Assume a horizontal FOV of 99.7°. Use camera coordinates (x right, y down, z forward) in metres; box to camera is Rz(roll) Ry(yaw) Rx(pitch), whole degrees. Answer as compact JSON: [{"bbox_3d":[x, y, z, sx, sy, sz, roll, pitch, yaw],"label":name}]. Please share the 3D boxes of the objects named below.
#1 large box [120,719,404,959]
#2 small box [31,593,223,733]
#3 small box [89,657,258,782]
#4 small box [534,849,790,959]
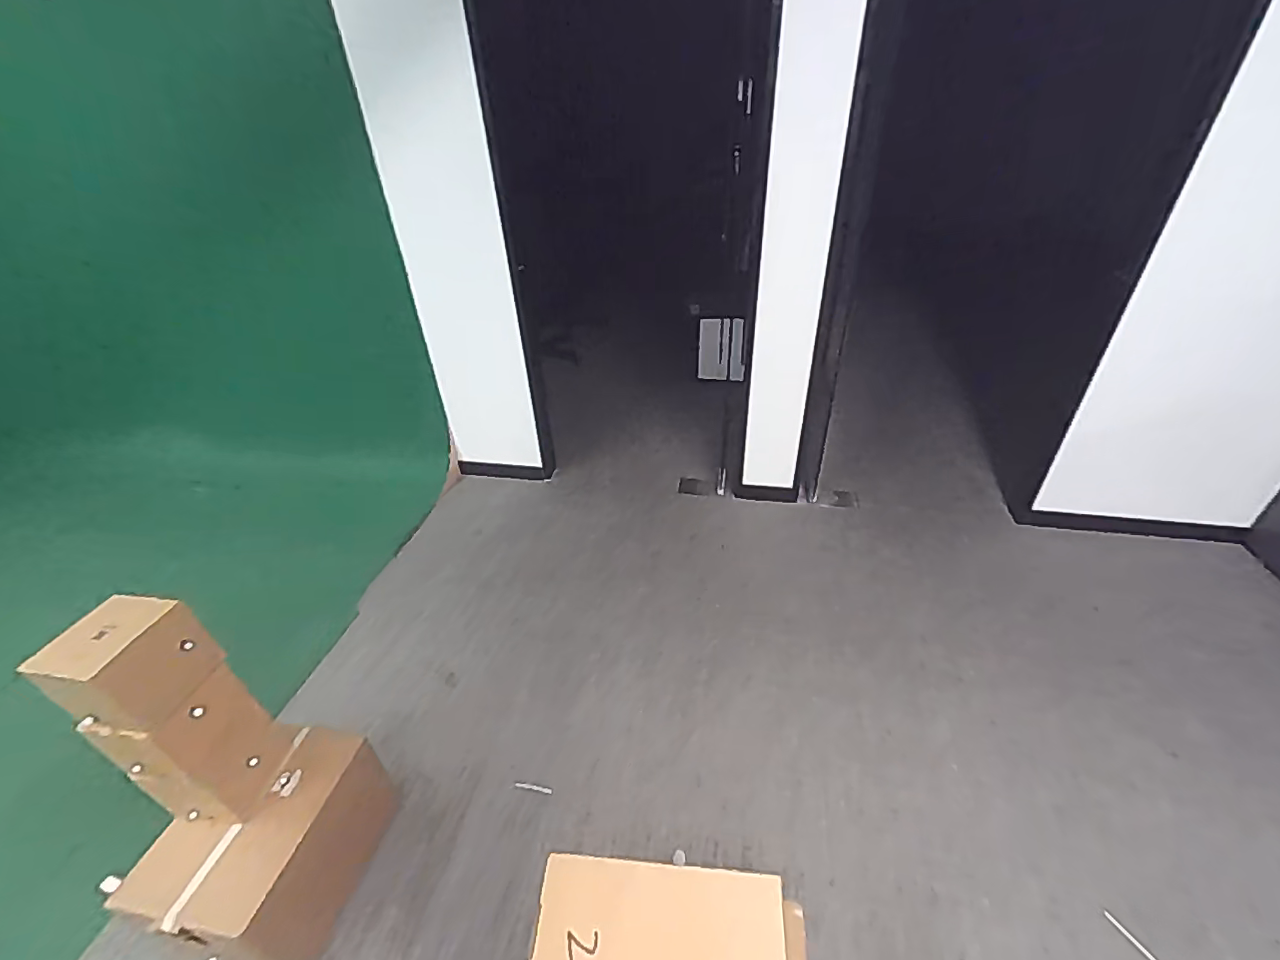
[{"bbox_3d":[-0.836,0.851,1.274,0.320,0.320,0.408,4,34,10],"label":"large box"},{"bbox_3d":[-0.938,0.341,1.016,0.168,0.176,0.179,2,36,14],"label":"small box"},{"bbox_3d":[-0.929,0.478,1.104,0.168,0.176,0.179,1,36,12],"label":"small box"},{"bbox_3d":[0.018,0.398,0.408,0.179,0.176,0.168,0,47,9],"label":"small box"}]
